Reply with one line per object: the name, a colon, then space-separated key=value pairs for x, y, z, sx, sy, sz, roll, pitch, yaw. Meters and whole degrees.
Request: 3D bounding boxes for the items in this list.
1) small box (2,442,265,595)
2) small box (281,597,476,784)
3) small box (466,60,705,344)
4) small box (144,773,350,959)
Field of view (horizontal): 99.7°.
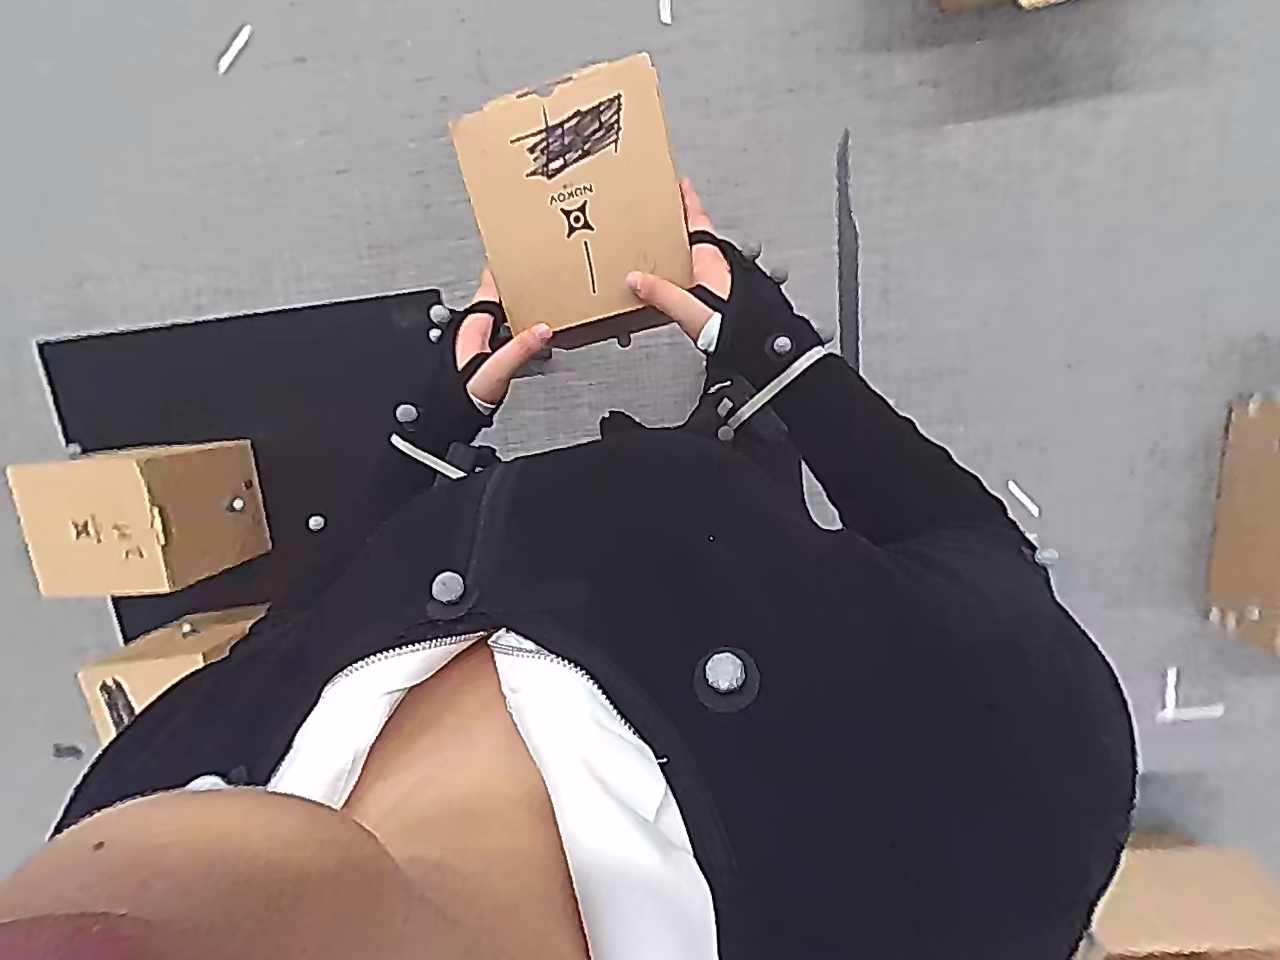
small box: x=-0.652 y=0.044 z=0.719 sx=0.179 sy=0.176 sz=0.168 roll=-4 pitch=101 yaw=4
small box: x=-0.340 y=0.278 z=0.742 sx=0.168 sy=0.176 sz=0.179 roll=-7 pitch=99 yaw=5
small box: x=-0.035 y=-0.236 z=0.512 sx=0.168 sy=0.176 sz=0.179 roll=-11 pitch=99 yaw=11
small box: x=-0.568 y=0.566 z=0.808 sx=0.179 sy=0.176 sz=0.168 roll=-5 pitch=100 yaw=4
